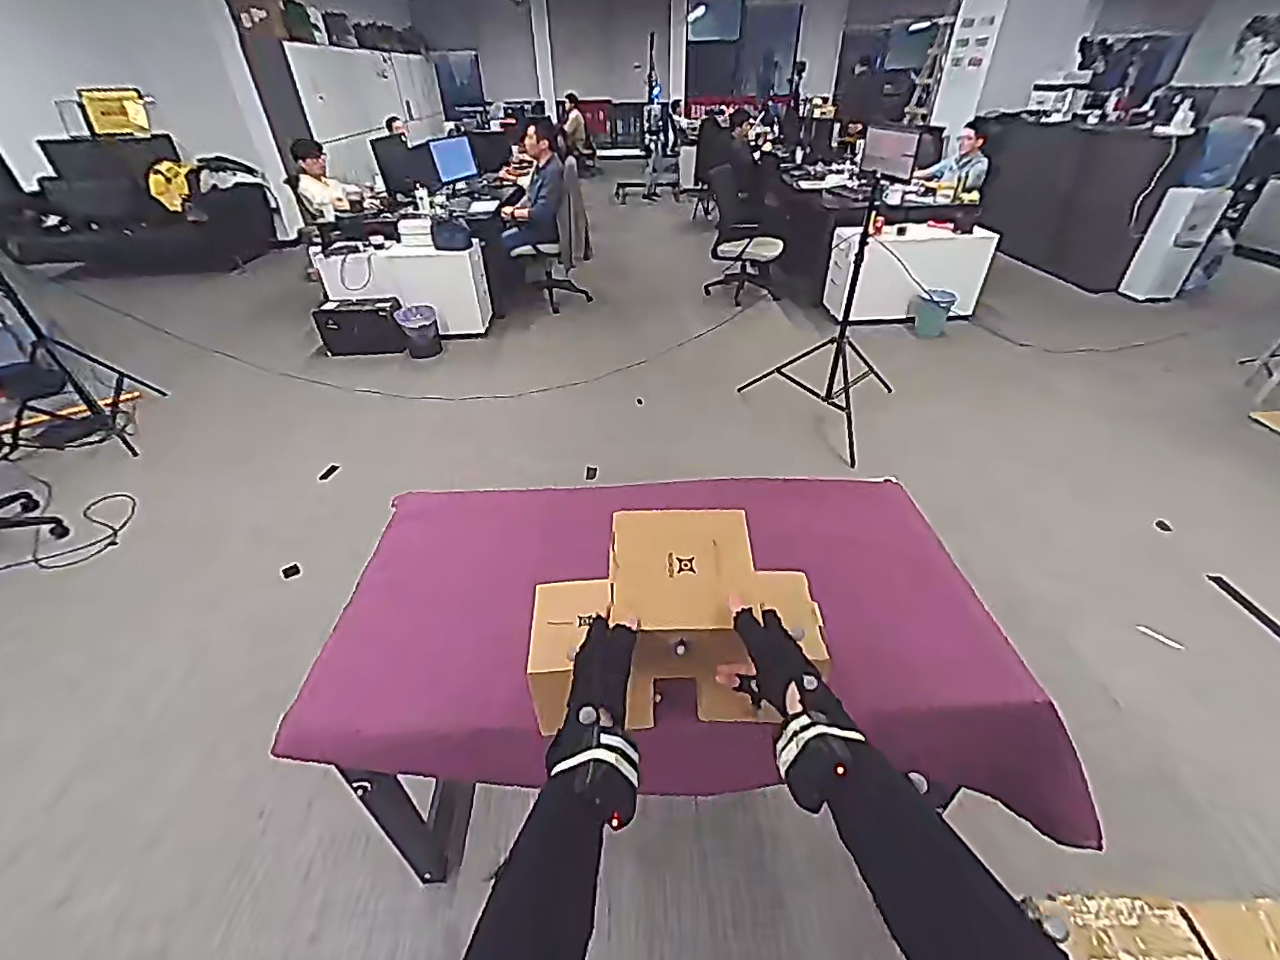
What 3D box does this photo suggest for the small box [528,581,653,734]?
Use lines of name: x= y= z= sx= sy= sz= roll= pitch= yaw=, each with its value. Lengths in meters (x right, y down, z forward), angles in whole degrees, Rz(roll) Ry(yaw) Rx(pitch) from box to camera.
small box: x=-0.070 y=0.279 z=0.855 sx=0.179 sy=0.176 sz=0.168 roll=-4 pitch=36 yaw=-1

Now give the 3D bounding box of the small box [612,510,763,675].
small box: x=0.053 y=0.155 z=0.726 sx=0.179 sy=0.176 sz=0.168 roll=-1 pitch=52 yaw=-2

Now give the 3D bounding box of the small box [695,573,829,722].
small box: x=0.181 y=0.267 z=0.864 sx=0.179 sy=0.176 sz=0.168 roll=1 pitch=36 yaw=2
